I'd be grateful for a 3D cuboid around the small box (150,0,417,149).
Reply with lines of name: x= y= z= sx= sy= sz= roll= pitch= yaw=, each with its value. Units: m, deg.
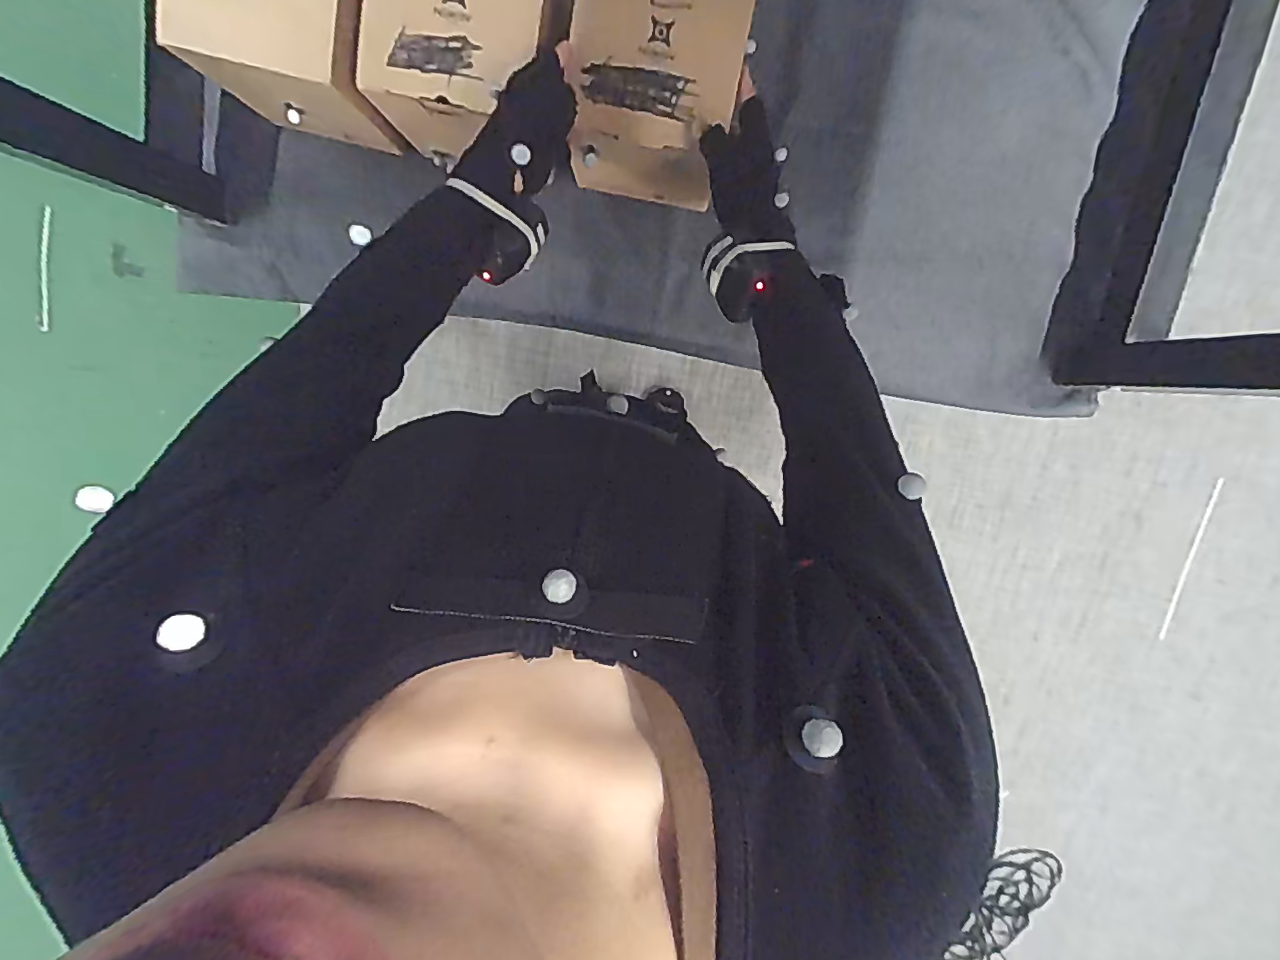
small box: x=-0.352 y=-0.482 z=0.563 sx=0.168 sy=0.176 sz=0.179 roll=13 pitch=100 yaw=-3
